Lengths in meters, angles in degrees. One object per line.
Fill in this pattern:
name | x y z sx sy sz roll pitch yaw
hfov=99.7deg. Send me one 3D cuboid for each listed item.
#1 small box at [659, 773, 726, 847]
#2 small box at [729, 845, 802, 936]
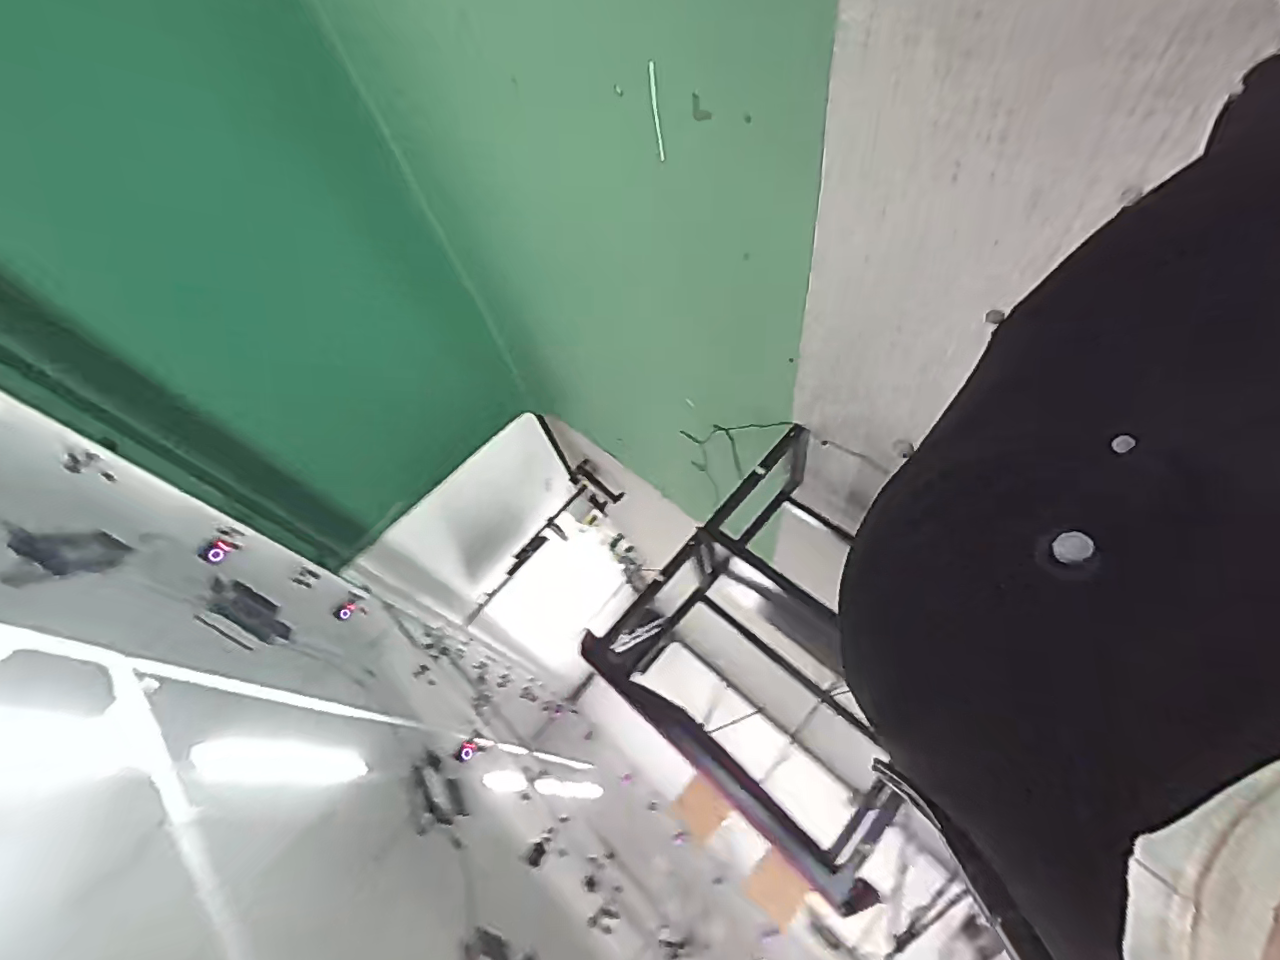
small box | 0.197 1.212 1.998 0.179 0.176 0.168 37 163 28
small box | 0.428 1.380 1.830 0.179 0.176 0.168 37 162 32
